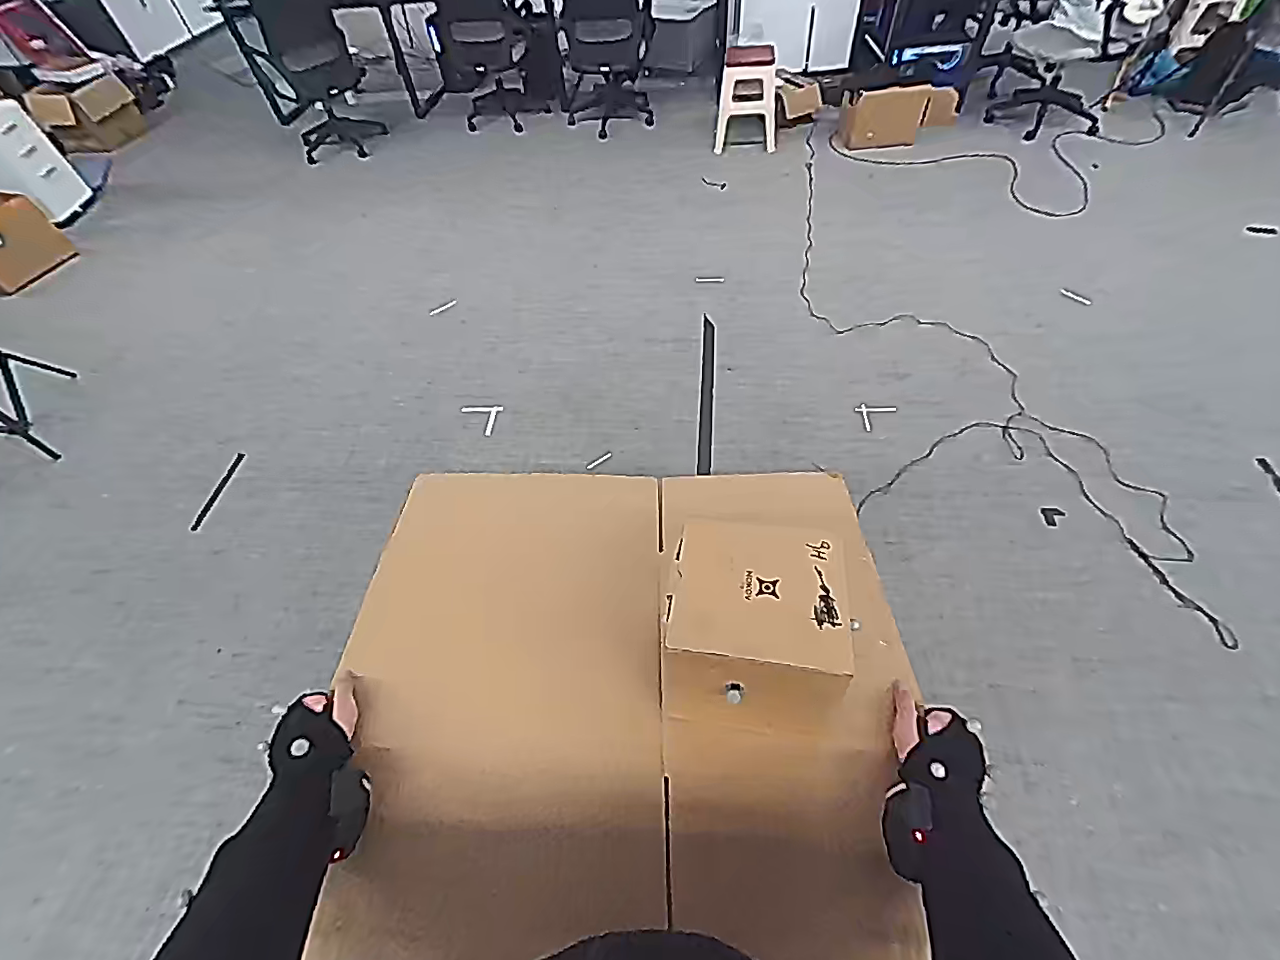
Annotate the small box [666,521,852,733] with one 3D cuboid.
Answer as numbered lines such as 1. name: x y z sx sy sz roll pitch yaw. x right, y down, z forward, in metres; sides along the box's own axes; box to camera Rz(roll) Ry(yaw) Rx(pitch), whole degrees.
1. small box: 0.131 0.168 0.617 0.179 0.176 0.168 4 46 11
